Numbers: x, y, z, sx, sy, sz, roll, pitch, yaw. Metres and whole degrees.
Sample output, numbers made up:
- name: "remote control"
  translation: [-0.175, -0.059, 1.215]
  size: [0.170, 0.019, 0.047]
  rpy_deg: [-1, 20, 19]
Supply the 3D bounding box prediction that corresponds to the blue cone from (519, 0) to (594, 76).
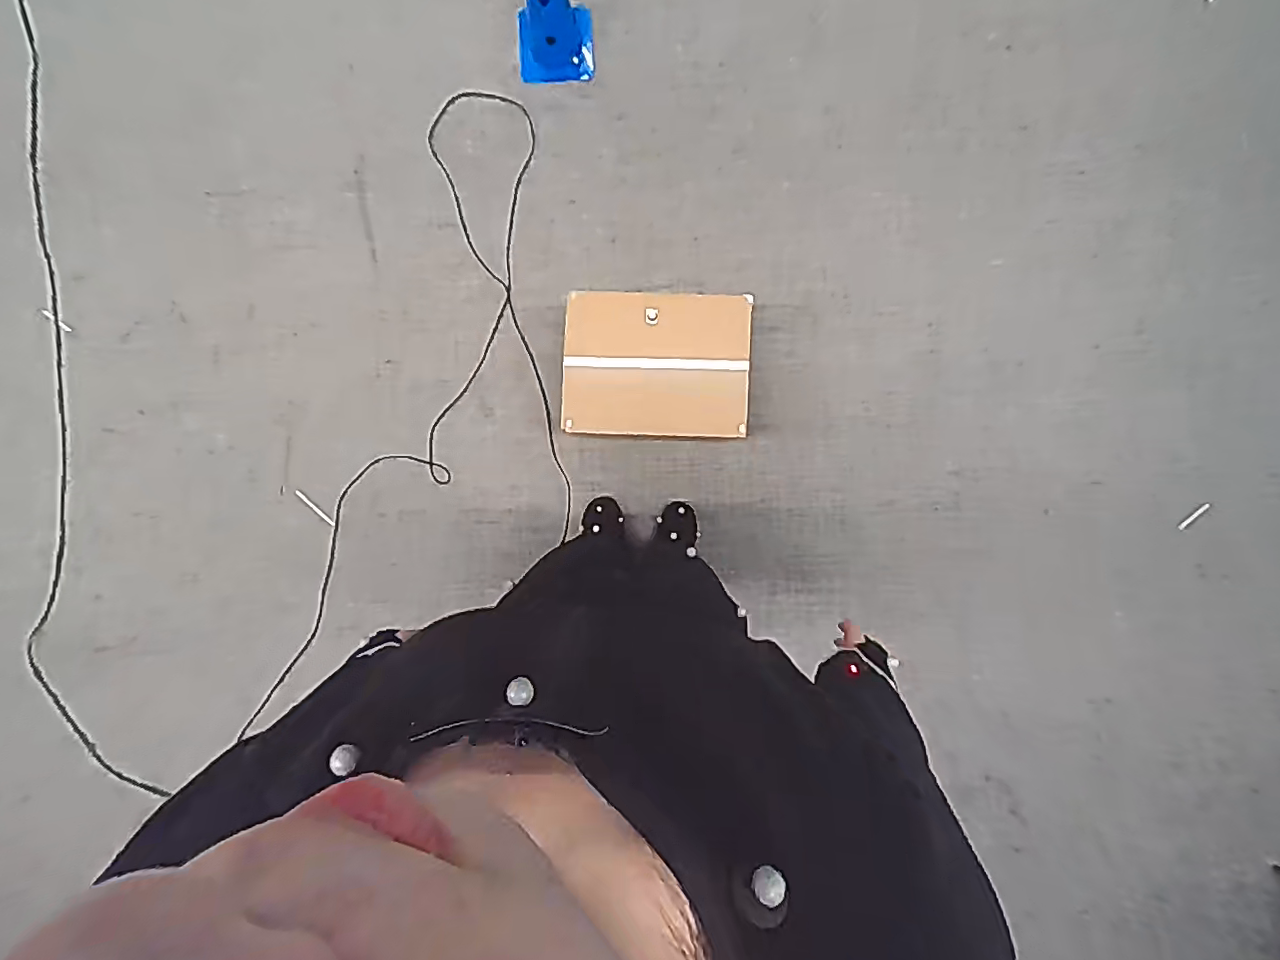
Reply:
- name: "blue cone"
  translation: [-0.221, -1.168, 1.268]
  size: [0.193, 0.380, 0.192]
  rpy_deg: [-4, 92, -1]
